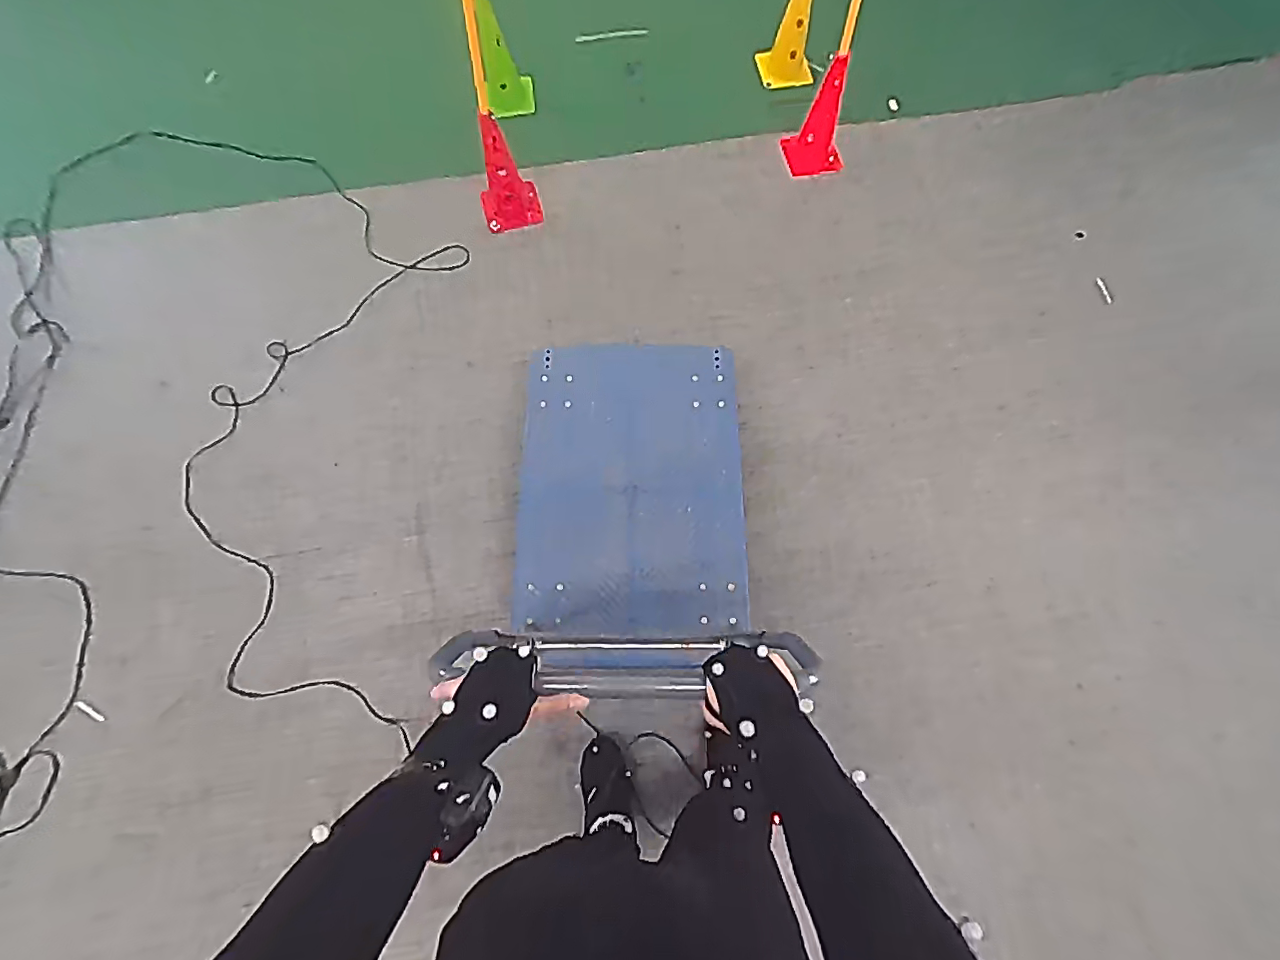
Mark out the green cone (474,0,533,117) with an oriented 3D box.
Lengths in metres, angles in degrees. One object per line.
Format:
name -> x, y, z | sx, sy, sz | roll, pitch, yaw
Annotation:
green cone -> -0.523, -1.551, 1.938 | 0.200, 0.368, 0.202 | -9, 70, -2

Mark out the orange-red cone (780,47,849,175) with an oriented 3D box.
orange-red cone -> 0.628, -1.266, 1.836 | 0.198, 0.360, 0.199 | -9, 69, -3
